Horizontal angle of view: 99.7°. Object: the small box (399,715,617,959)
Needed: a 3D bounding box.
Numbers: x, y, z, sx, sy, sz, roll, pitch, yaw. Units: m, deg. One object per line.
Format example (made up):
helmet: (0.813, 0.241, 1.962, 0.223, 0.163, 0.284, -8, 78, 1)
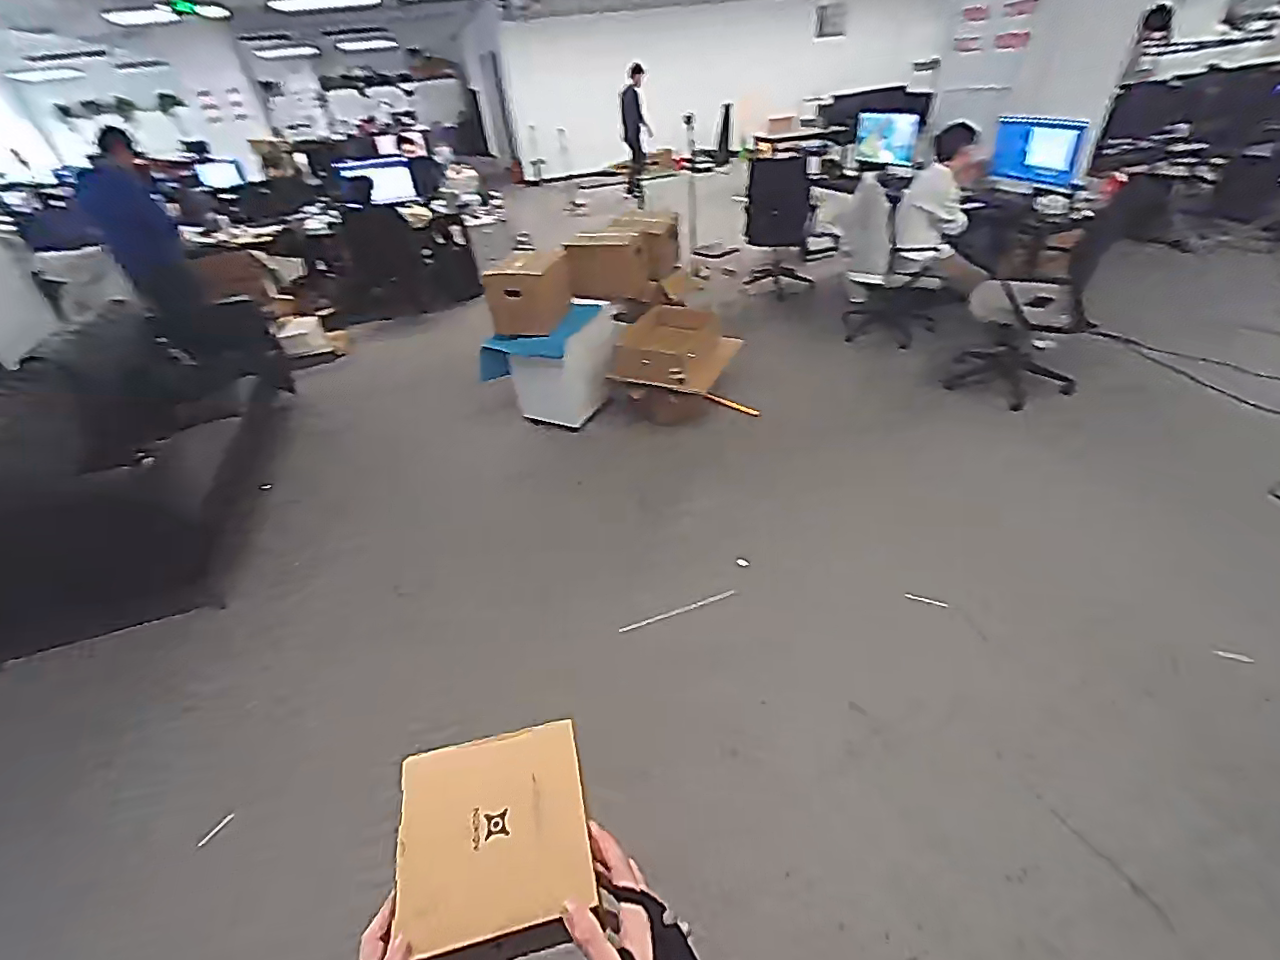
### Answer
small box: (-0.126, 0.376, 0.562, 0.179, 0.176, 0.168, -9, 44, -8)
